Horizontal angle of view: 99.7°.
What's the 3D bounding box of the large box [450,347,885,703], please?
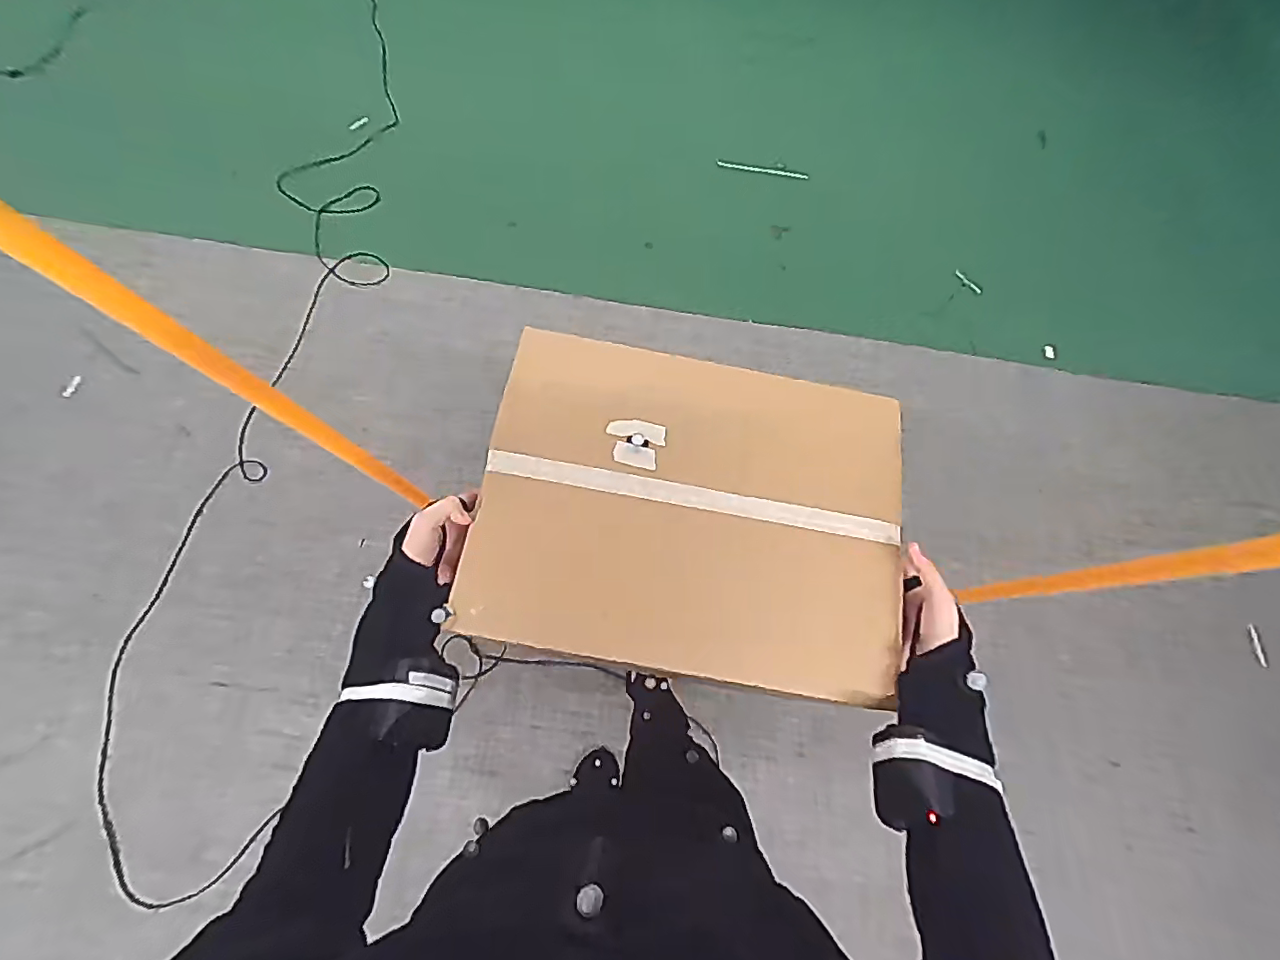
[{"bbox_3d":[0.039,0.078,0.674,0.408,0.320,0.320,10,69,-1],"label":"large box"}]
